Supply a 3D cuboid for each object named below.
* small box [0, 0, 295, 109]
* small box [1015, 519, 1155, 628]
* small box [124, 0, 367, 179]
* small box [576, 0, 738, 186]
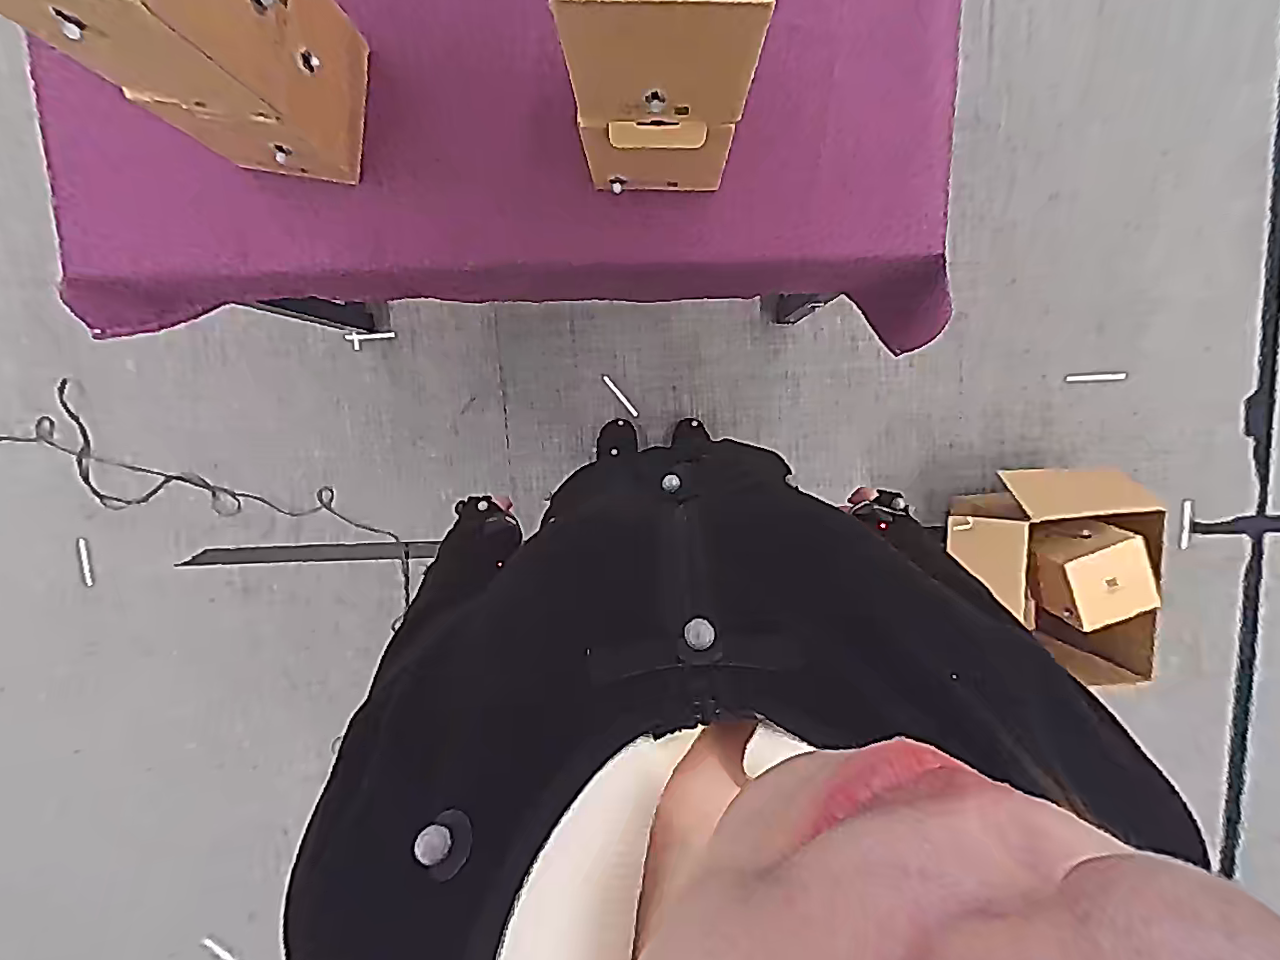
[{"bbox_3d":[-0.441,-0.463,0.471,0.179,0.176,0.168,10,98,-1],"label":"small box"},{"bbox_3d":[1.013,0.203,1.247,0.168,0.176,0.179,-24,101,6],"label":"small box"},{"bbox_3d":[-0.445,-0.483,0.634,0.168,0.176,0.179,9,97,-1],"label":"small box"},{"bbox_3d":[0.020,-0.462,0.626,0.168,0.176,0.179,1,96,1],"label":"small box"}]
